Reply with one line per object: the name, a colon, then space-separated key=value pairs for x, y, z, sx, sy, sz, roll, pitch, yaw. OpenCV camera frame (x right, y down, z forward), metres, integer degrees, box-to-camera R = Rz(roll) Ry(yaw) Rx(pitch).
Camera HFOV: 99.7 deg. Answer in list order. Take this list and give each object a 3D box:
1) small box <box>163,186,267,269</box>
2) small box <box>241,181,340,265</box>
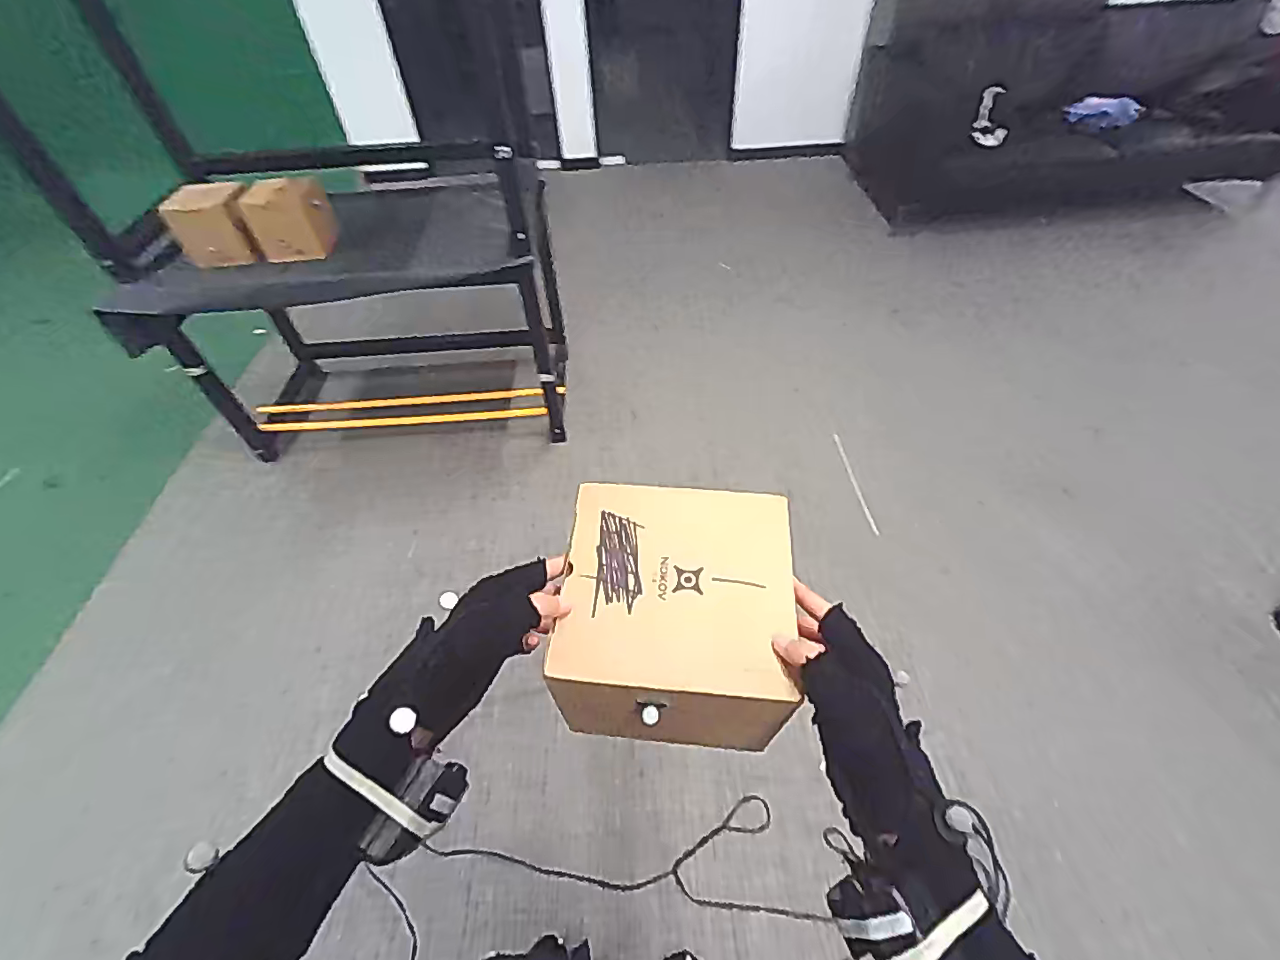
small box: x=-1.219 y=-0.738 z=1.583 sx=0.168 sy=0.176 sz=0.179 roll=-6 pitch=49 yaw=-2
small box: x=-1.017 y=-0.757 z=1.595 sx=0.168 sy=0.176 sz=0.179 roll=-6 pitch=49 yaw=-2
